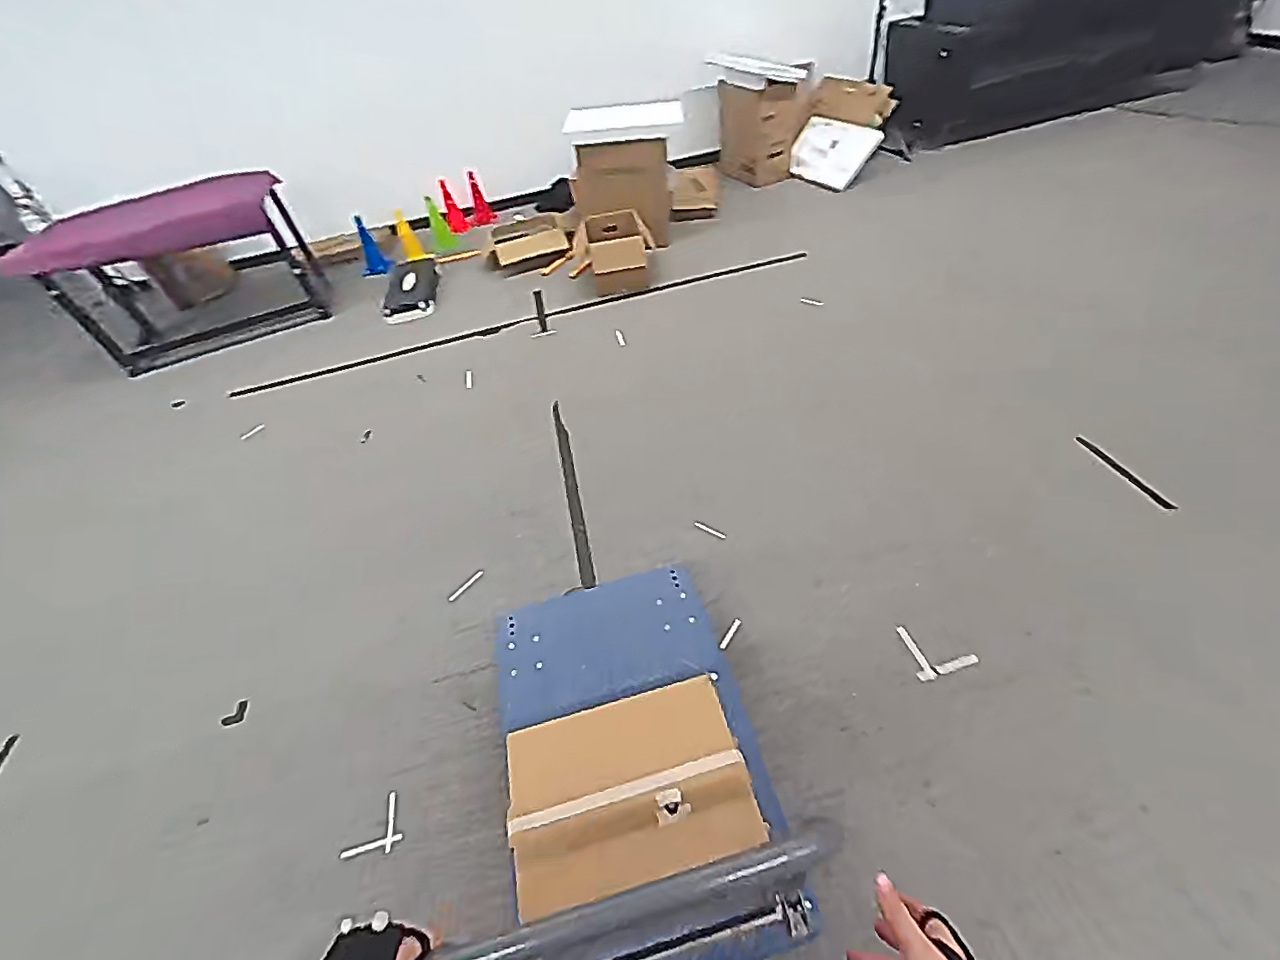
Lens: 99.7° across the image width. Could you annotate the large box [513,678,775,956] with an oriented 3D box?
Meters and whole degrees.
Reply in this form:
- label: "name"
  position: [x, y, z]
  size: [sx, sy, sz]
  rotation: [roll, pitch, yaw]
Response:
- label: "large box"
  position: [0.004, 0.643, 1.037]
  size: [0.408, 0.320, 0.320]
  rotation: [-15, 46, -5]
